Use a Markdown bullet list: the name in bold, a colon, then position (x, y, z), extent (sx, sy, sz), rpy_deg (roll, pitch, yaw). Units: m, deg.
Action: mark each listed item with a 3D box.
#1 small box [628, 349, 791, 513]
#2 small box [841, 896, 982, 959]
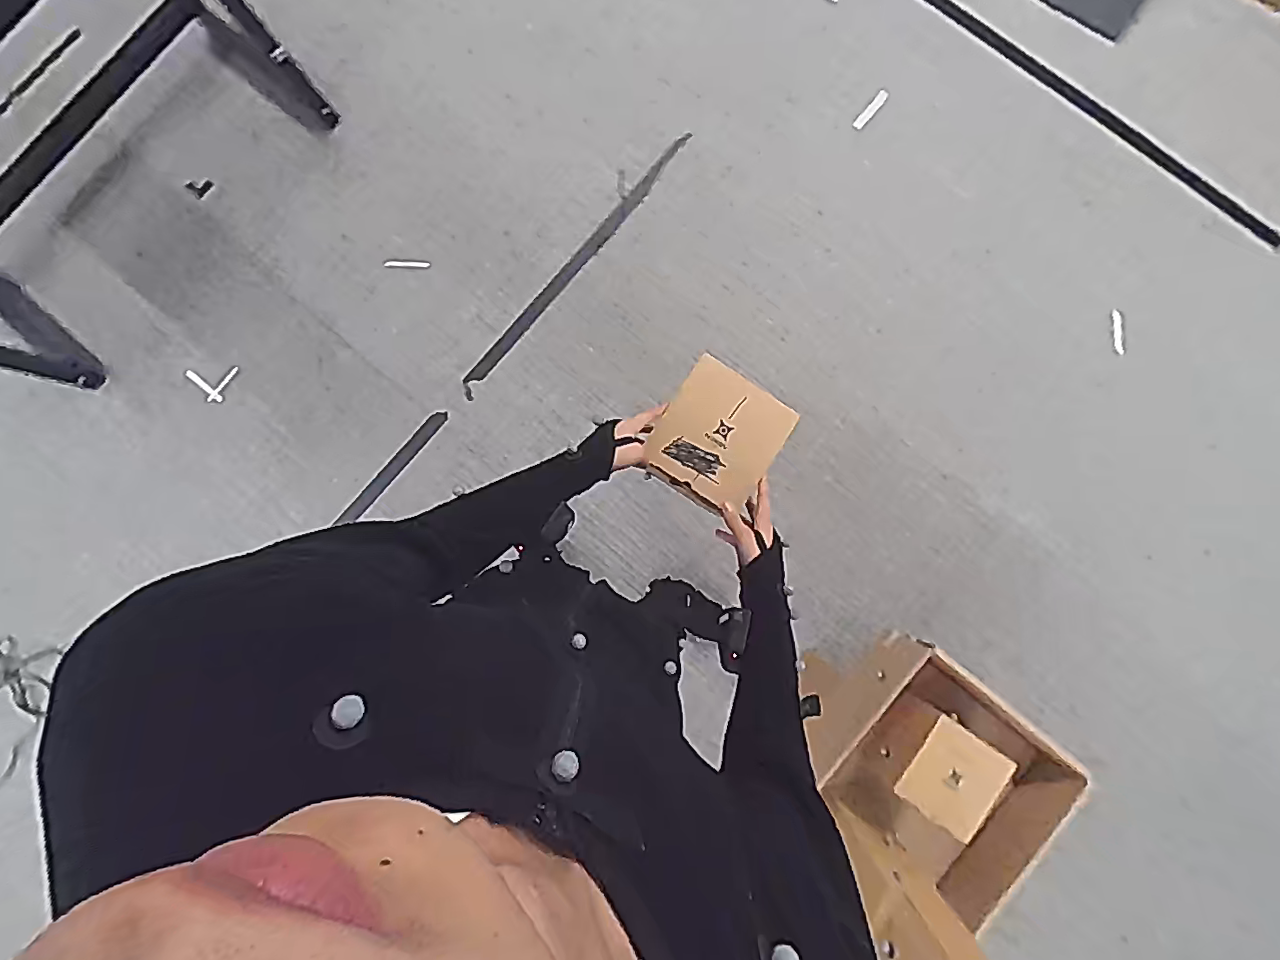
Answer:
- **small box**: position (0.096, -0.065, 0.826), extent (0.168, 0.176, 0.179), rpy_deg (33, 87, -1)
- **small box**: position (0.413, 0.742, 0.748), extent (0.179, 0.176, 0.168), rpy_deg (39, 87, 5)
